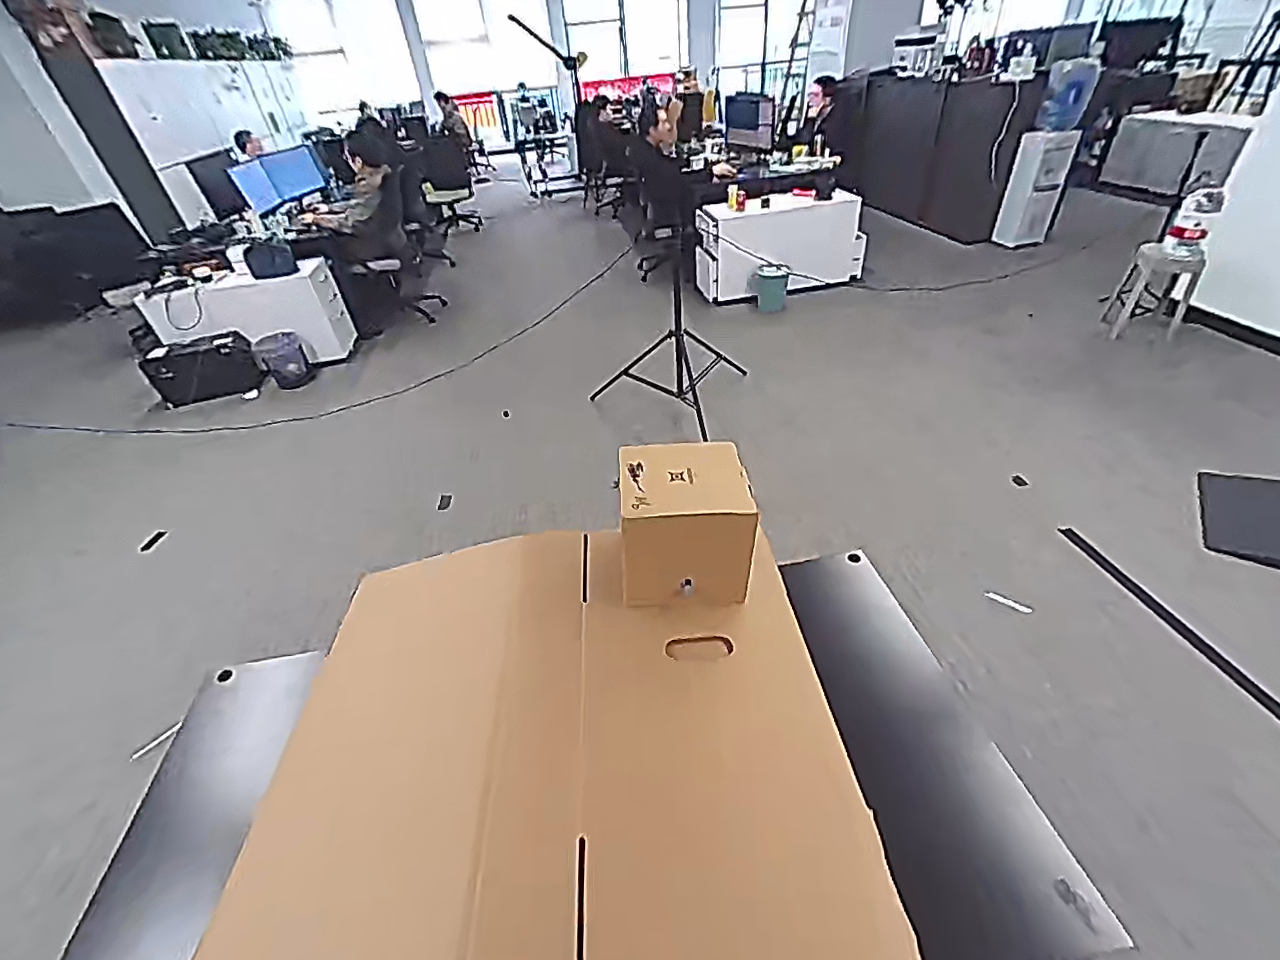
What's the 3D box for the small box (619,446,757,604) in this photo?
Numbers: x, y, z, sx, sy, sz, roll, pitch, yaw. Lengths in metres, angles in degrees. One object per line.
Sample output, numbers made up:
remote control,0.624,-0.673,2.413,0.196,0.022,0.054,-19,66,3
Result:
small box,0.059,0.066,0.793,0.179,0.176,0.168,-2,36,-3
